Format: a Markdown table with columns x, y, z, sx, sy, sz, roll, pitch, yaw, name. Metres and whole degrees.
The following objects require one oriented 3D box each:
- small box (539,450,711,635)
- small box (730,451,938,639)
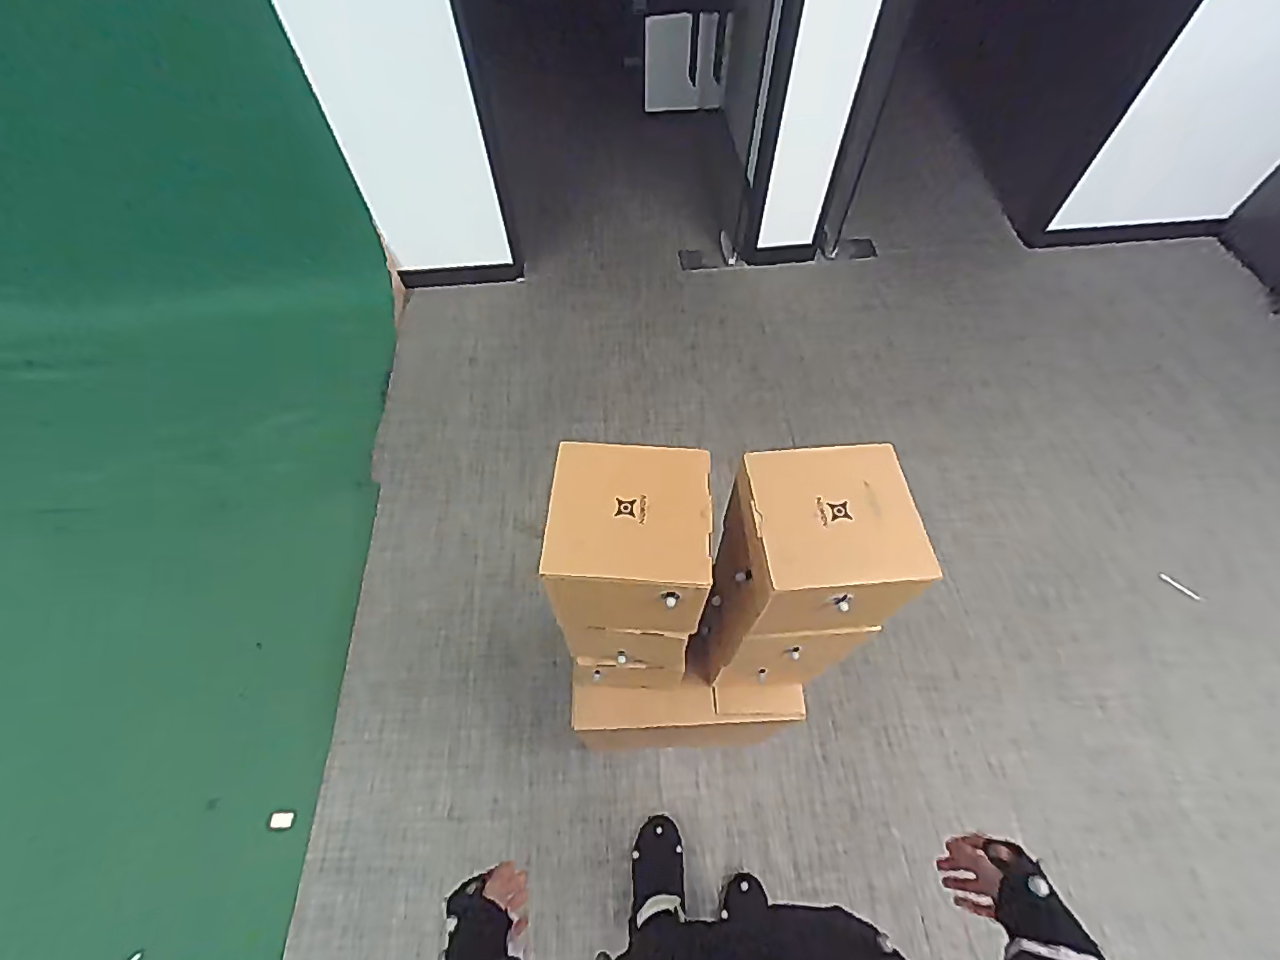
| x | y | z | sx | sy | sz | roll | pitch | yaw | name |
| --- | --- | --- | --- | --- | --- | --- | --- | --- | --- |
| -0.011 | 0.081 | 0.650 | 0.179 | 0.176 | 0.168 | 3 | 58 | 1 | small box |
| 0.208 | 0.084 | 0.644 | 0.179 | 0.176 | 0.168 | -4 | 59 | -2 | small box |
